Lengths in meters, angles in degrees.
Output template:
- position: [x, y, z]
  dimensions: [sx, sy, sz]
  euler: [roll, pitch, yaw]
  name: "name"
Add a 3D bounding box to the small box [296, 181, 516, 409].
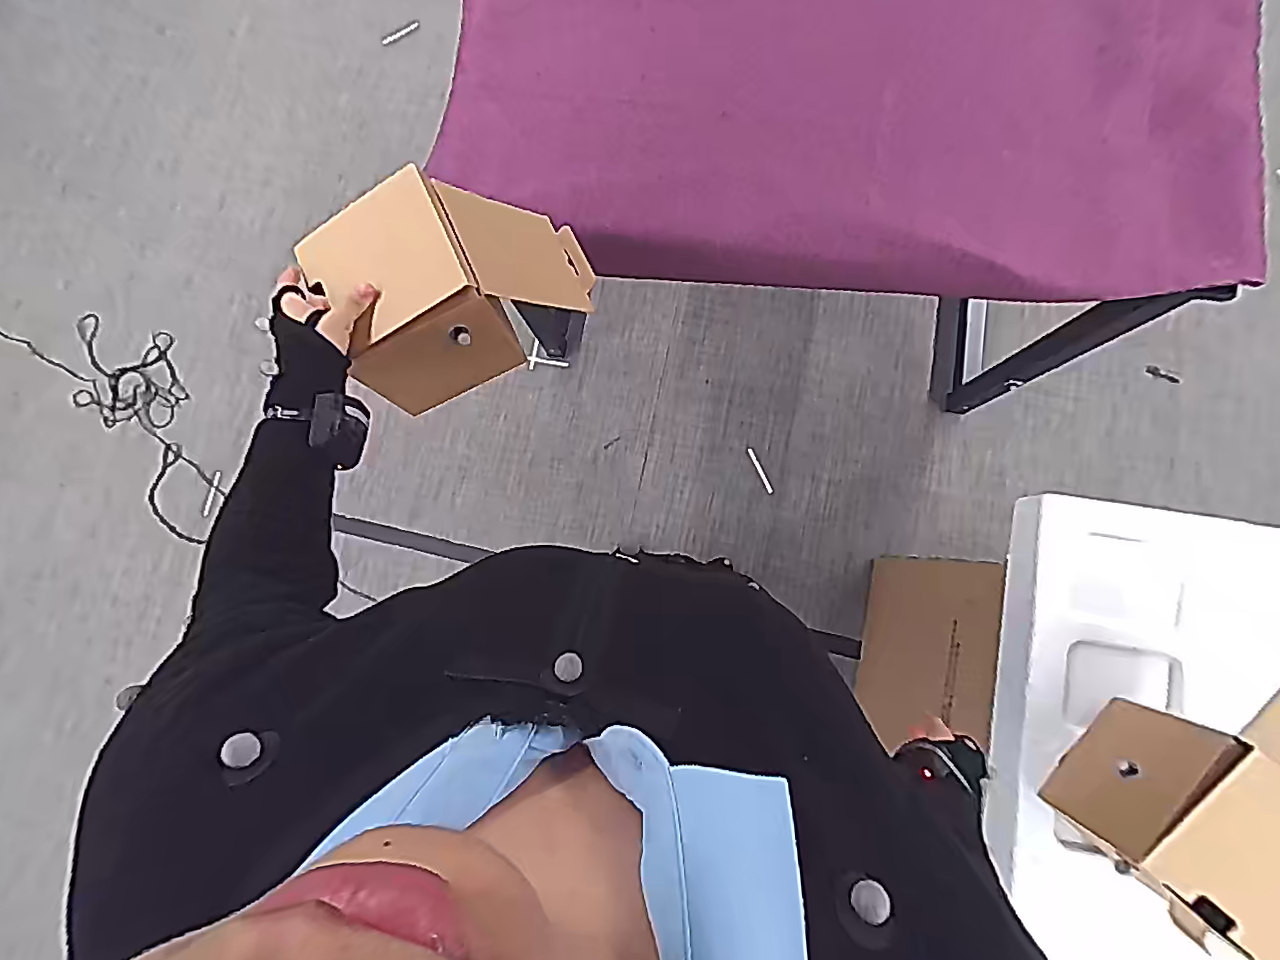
- position: [-0.270, -0.214, 0.668]
  dimensions: [0.179, 0.176, 0.168]
  euler: [-26, 76, 0]
  name: "small box"
